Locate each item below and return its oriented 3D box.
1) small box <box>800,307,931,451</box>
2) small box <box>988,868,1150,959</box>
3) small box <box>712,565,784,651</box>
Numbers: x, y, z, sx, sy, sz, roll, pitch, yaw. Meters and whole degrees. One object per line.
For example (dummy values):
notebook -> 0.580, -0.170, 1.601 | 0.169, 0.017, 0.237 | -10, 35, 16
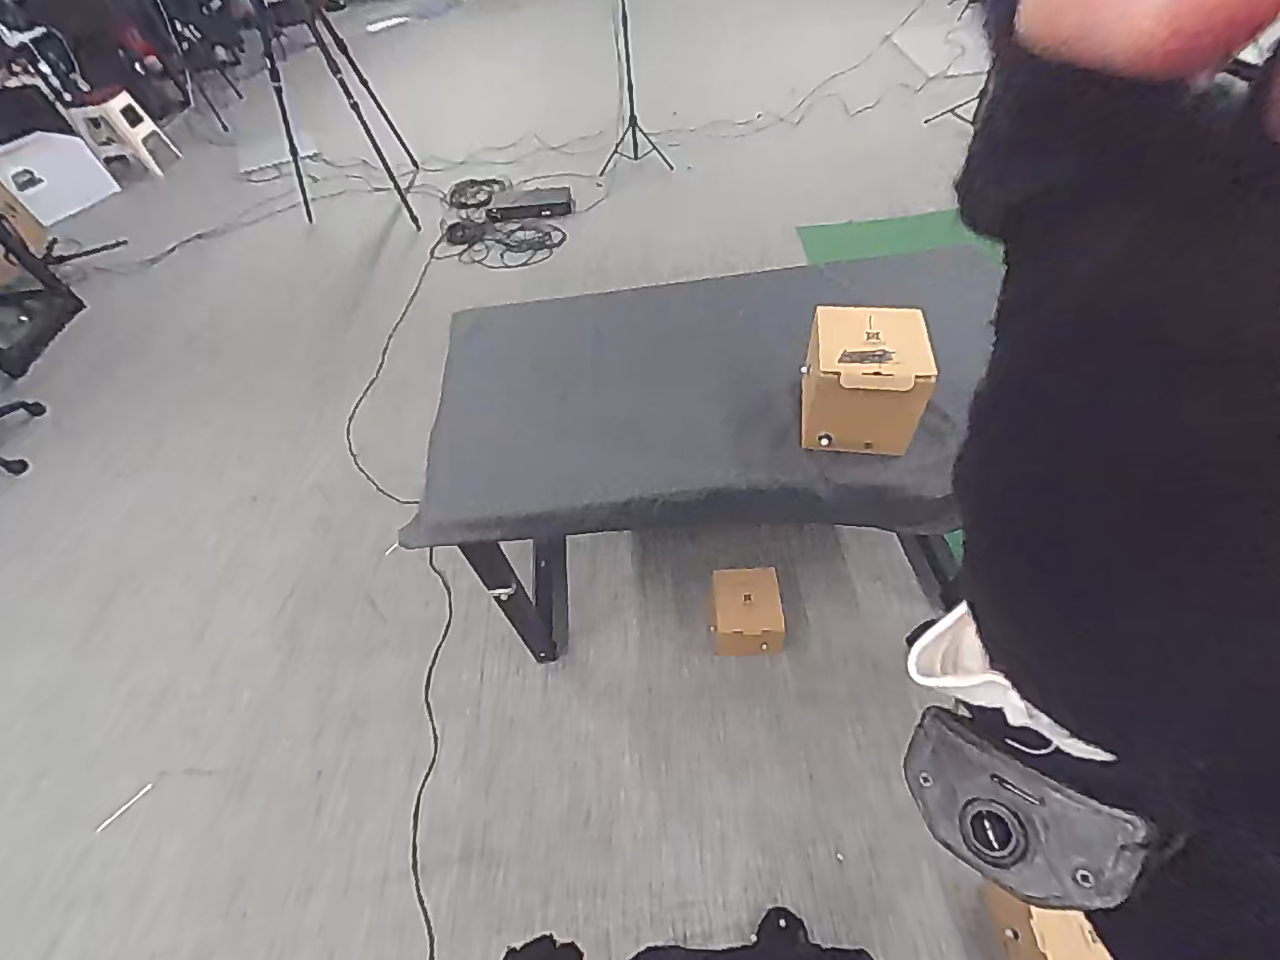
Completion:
small box -> 0.365, -0.166, 0.904 | 0.168, 0.176, 0.179 | 5, 52, 11
small box -> 0.786, 0.833, 1.010 | 0.179, 0.176, 0.168 | -3, 52, 5
small box -> 0.282, 0.347, 1.443 | 0.168, 0.176, 0.179 | -3, 51, 3
